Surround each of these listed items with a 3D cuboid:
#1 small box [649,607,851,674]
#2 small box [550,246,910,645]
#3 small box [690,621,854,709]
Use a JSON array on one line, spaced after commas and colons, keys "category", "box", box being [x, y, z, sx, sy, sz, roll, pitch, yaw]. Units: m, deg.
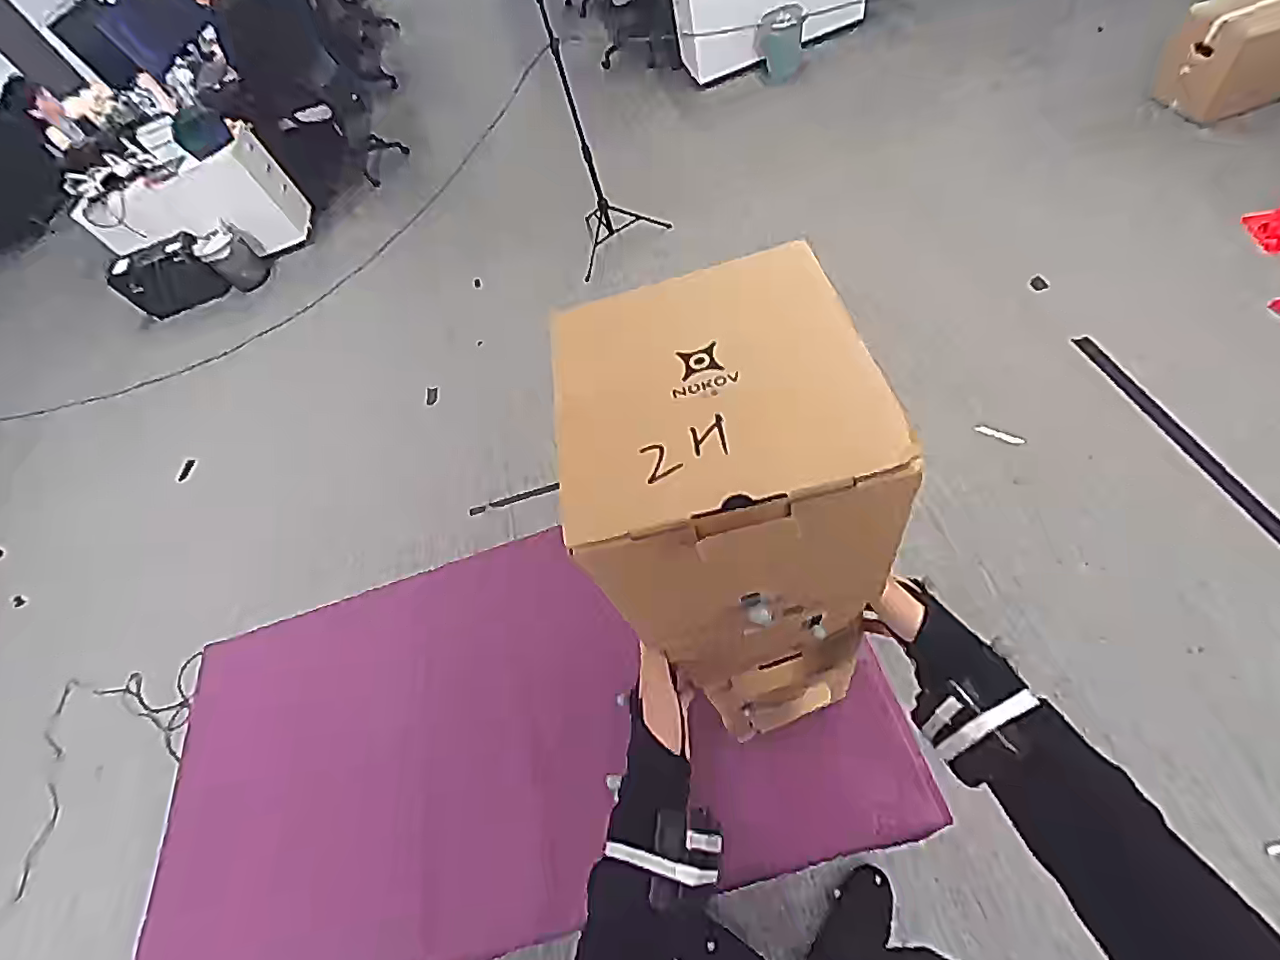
[{"category": "small box", "box": [0.085, 0.065, 0.499, 0.168, 0.176, 0.179, -20, 54, 4]}, {"category": "small box", "box": [0.049, -0.012, 0.357, 0.168, 0.176, 0.179, -15, 55, 8]}, {"category": "small box", "box": [0.130, 0.151, 0.629, 0.168, 0.176, 0.179, -21, 54, 4]}]
